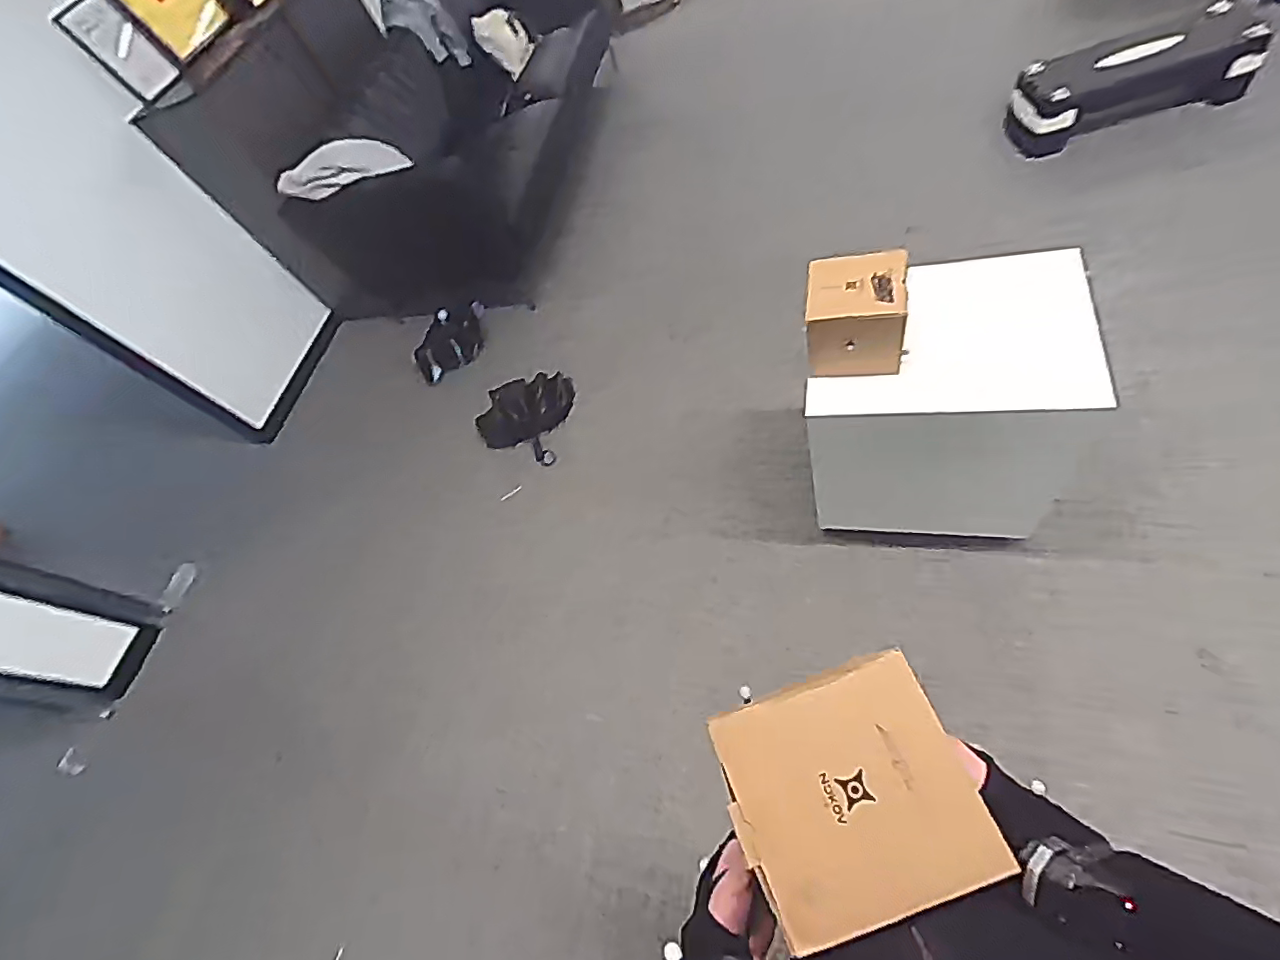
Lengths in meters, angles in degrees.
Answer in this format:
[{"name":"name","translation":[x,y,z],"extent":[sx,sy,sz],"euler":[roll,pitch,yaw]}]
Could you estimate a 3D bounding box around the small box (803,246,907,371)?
[{"name":"small box","translation":[0.426,-0.333,1.077],"extent":[0.179,0.176,0.168],"euler":[2,62,22]}]
